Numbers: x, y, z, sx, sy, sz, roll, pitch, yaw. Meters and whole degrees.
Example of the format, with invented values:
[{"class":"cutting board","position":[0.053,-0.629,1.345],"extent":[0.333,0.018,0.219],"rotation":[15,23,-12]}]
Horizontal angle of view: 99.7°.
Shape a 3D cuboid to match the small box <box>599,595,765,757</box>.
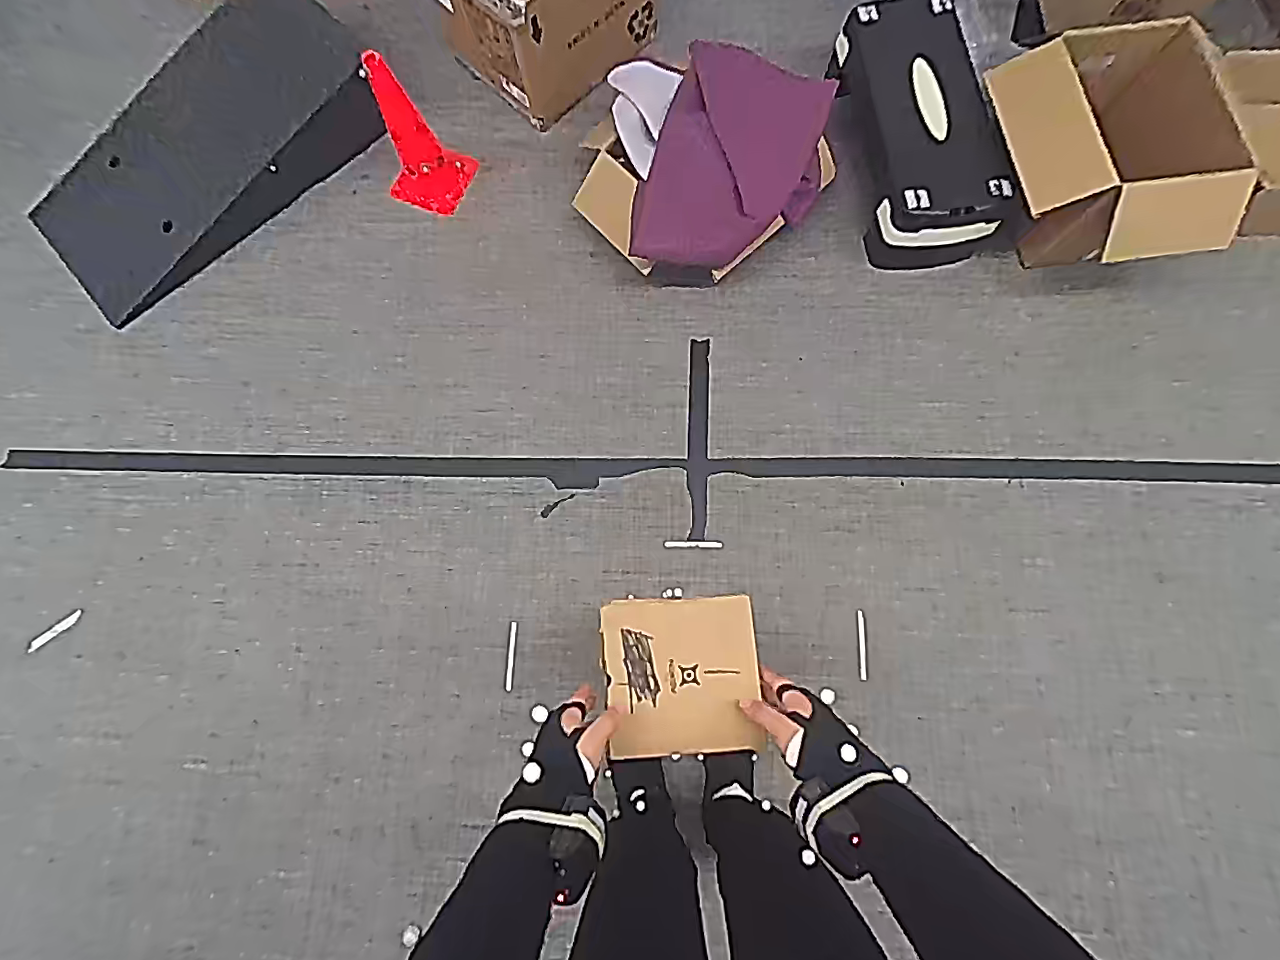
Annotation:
[{"class":"small box","position":[0.048,0.236,0.680],"extent":[0.179,0.176,0.168],"rotation":[-4,77,0]}]
